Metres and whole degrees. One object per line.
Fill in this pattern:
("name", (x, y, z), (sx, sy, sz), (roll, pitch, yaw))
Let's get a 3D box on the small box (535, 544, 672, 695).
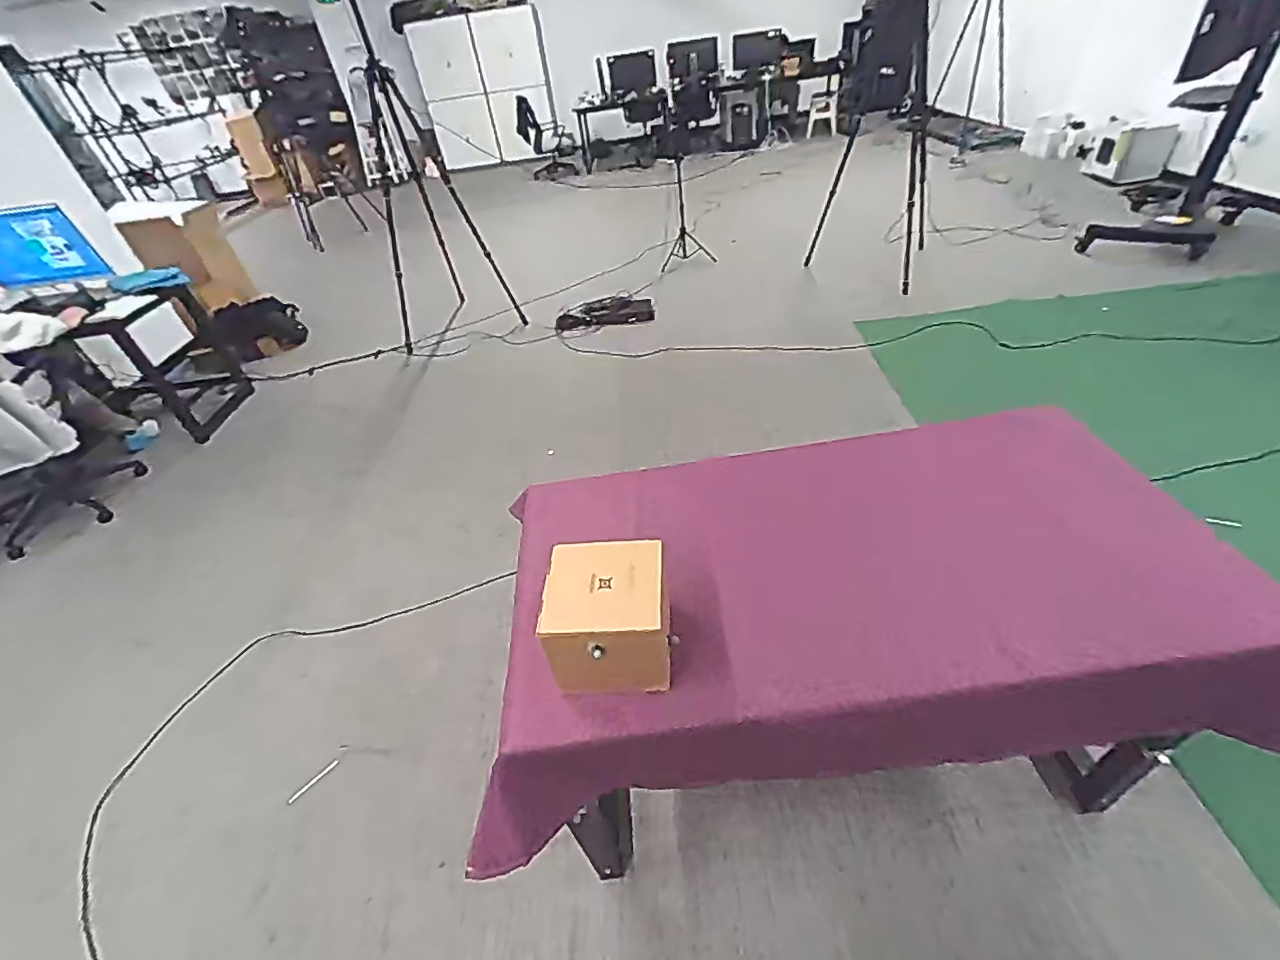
("small box", (-0.045, 0.219, 0.843), (0.179, 0.176, 0.168), (-3, 41, 7))
